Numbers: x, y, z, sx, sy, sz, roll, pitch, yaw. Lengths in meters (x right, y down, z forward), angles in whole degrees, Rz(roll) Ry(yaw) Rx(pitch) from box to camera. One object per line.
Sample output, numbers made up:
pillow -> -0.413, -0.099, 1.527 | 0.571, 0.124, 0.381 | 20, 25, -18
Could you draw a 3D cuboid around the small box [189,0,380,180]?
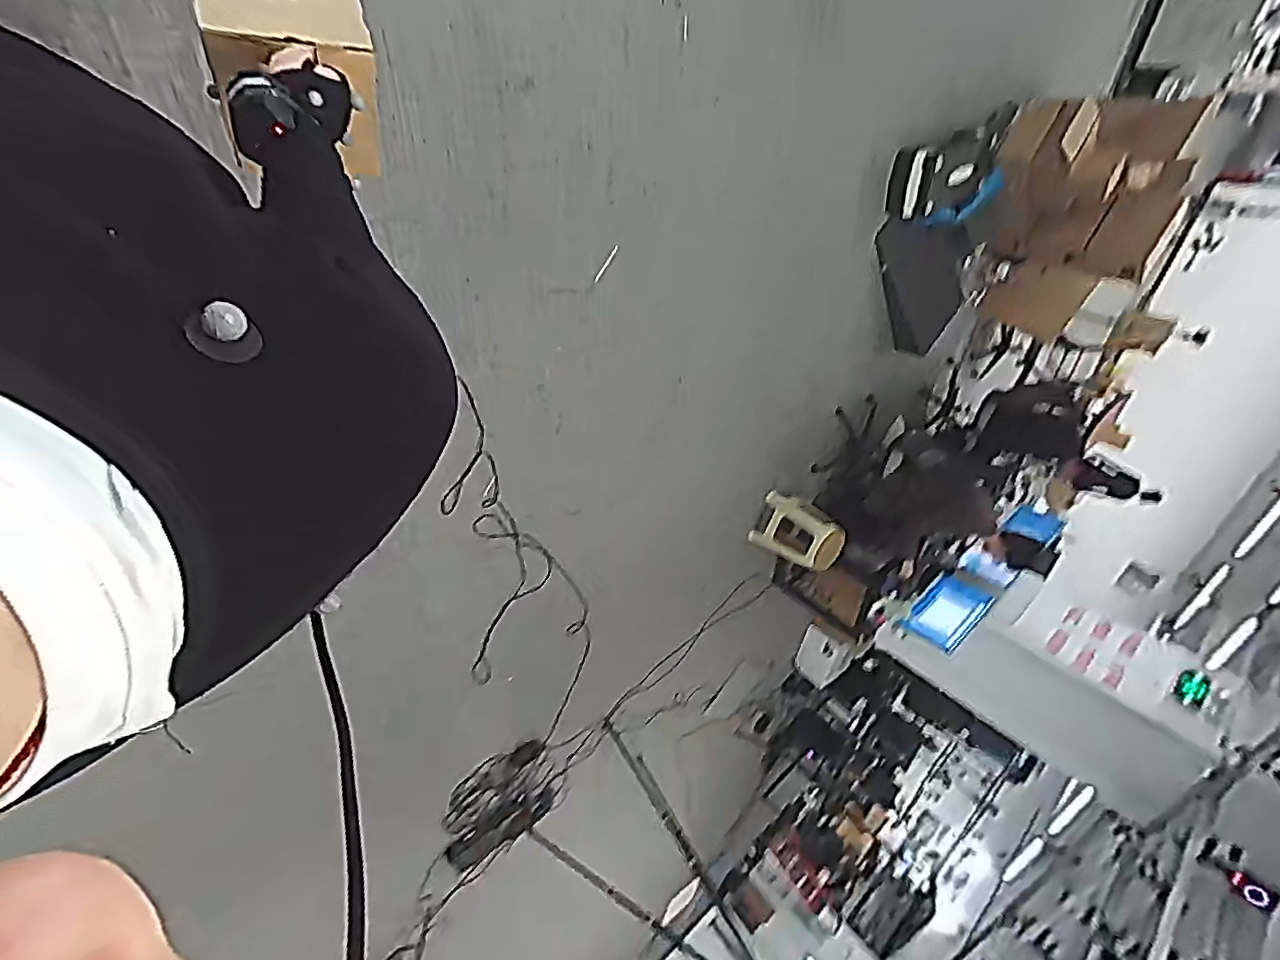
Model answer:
small box -> -0.440, -0.510, 0.683 | 0.168, 0.179, 0.176 | -15, 162, -26
